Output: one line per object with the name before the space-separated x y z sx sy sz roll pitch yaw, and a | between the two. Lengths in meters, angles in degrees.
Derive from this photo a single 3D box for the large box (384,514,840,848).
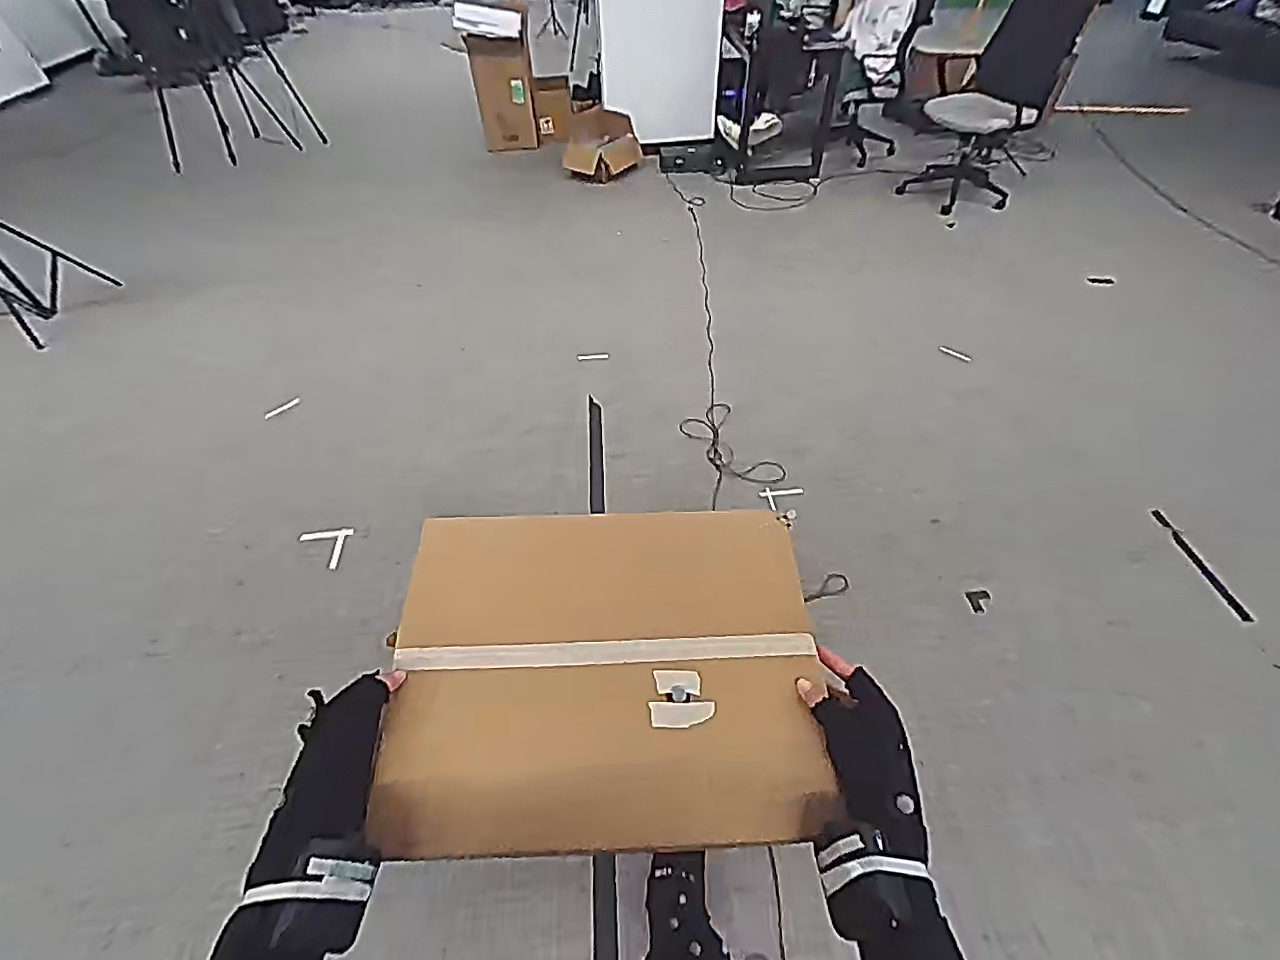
large box | -0.033 0.256 0.669 0.408 0.320 0.320 -1 56 -2
